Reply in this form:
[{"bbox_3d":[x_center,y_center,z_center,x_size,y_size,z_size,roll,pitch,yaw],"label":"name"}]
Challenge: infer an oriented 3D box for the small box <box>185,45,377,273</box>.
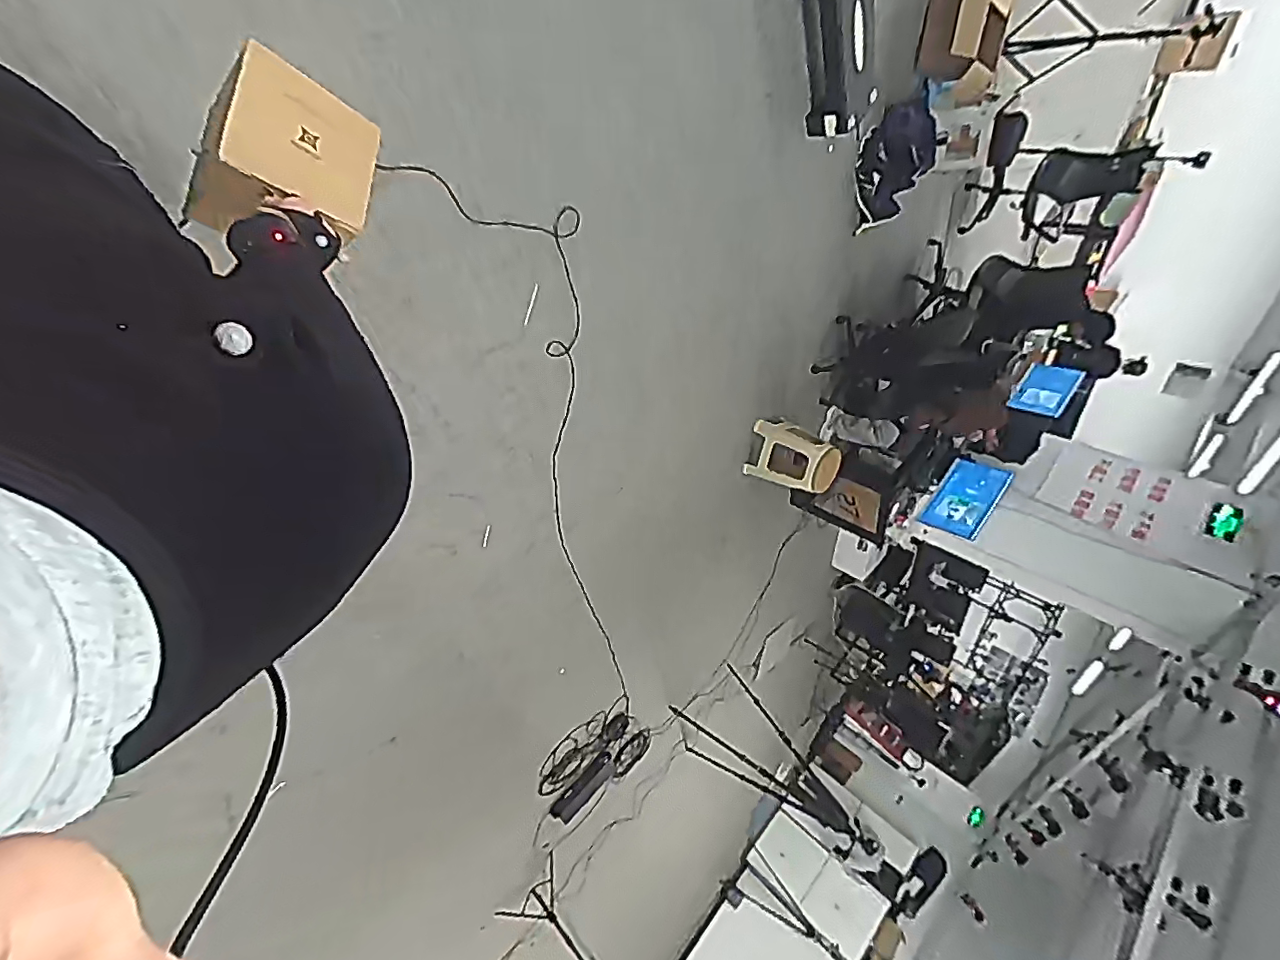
[{"bbox_3d":[-0.490,-0.417,0.741,0.168,0.176,0.179,16,70,-50],"label":"small box"}]
